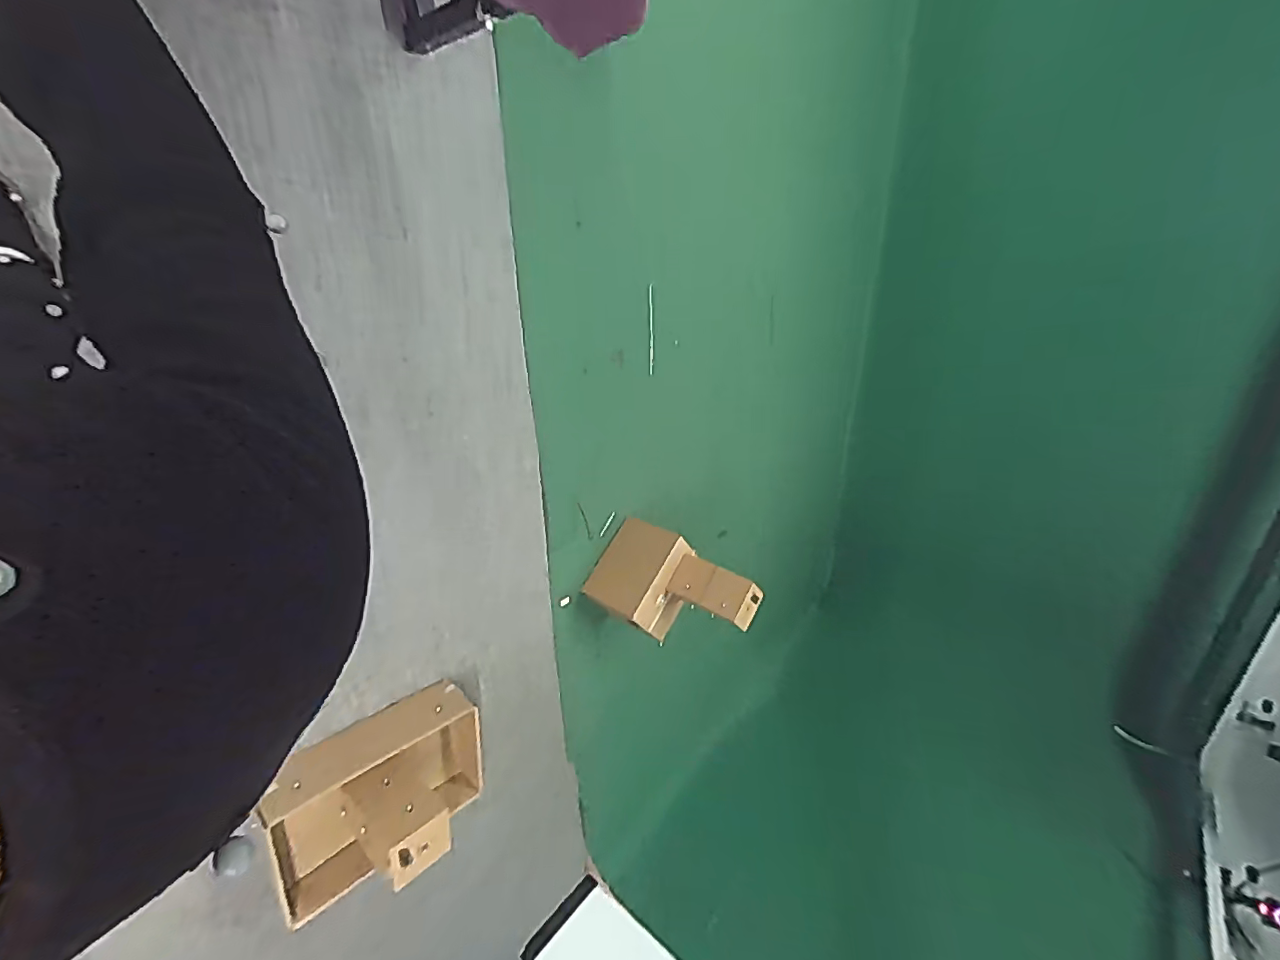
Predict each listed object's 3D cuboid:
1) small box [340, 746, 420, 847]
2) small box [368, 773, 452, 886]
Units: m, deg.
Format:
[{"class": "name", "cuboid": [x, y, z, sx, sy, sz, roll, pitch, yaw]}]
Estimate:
[{"class": "small box", "cuboid": [-0.799, 0.970, 1.677, 0.179, 0.176, 0.168, -19, 118, -46]}, {"class": "small box", "cuboid": [-0.674, 1.009, 1.577, 0.179, 0.176, 0.168, -19, 119, -48]}]
